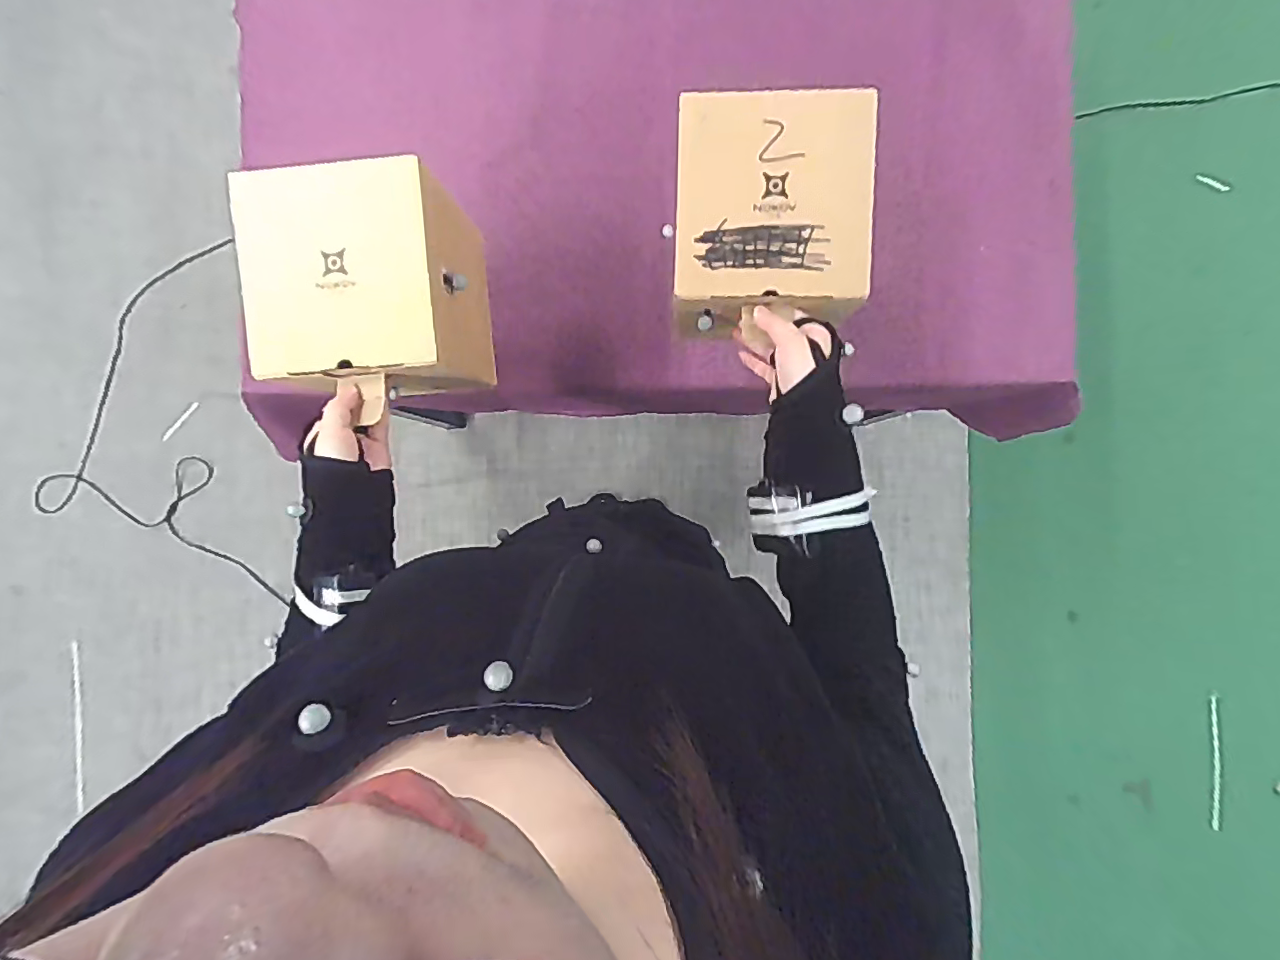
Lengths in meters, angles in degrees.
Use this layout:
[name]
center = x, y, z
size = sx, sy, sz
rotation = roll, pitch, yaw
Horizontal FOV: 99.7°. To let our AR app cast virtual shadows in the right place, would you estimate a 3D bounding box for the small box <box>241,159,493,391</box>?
[small box]
center = -0.259, -0.192, 0.554
size = 0.168, 0.176, 0.179
rotation = -4, 94, 2
